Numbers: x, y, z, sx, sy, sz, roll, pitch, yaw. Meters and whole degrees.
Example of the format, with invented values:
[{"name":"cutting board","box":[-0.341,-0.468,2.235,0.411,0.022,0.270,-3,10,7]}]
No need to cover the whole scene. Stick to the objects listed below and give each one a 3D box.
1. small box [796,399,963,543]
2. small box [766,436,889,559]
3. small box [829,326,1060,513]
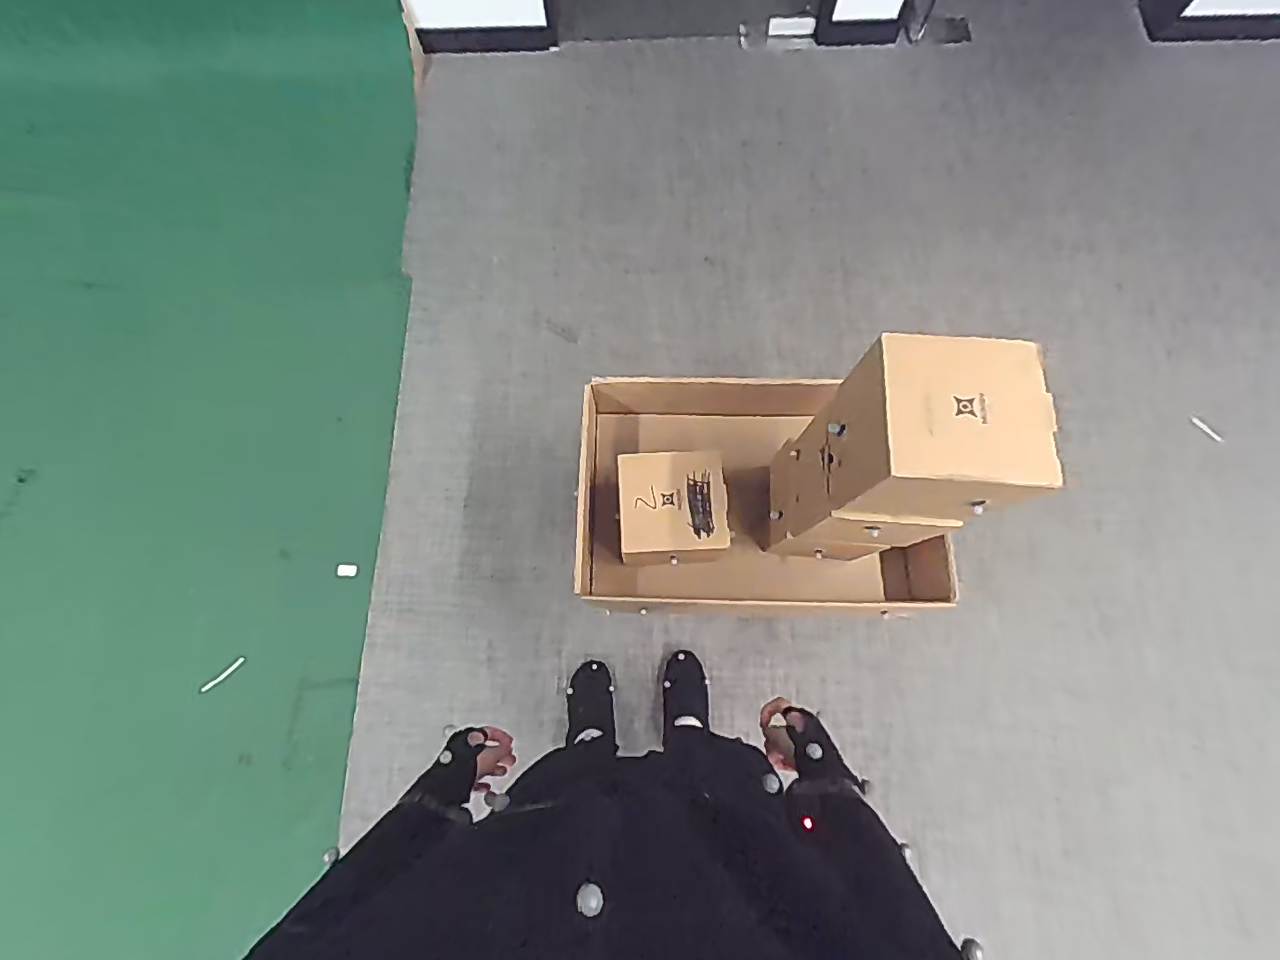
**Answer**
[{"name":"small box","box":[0.334,-0.006,0.791,0.179,0.176,0.168,4,74,1]},{"name":"small box","box":[0.322,0.039,0.949,0.168,0.176,0.179,5,73,2]},{"name":"small box","box":[0.338,-0.060,0.637,0.179,0.176,0.168,3,73,2]}]
